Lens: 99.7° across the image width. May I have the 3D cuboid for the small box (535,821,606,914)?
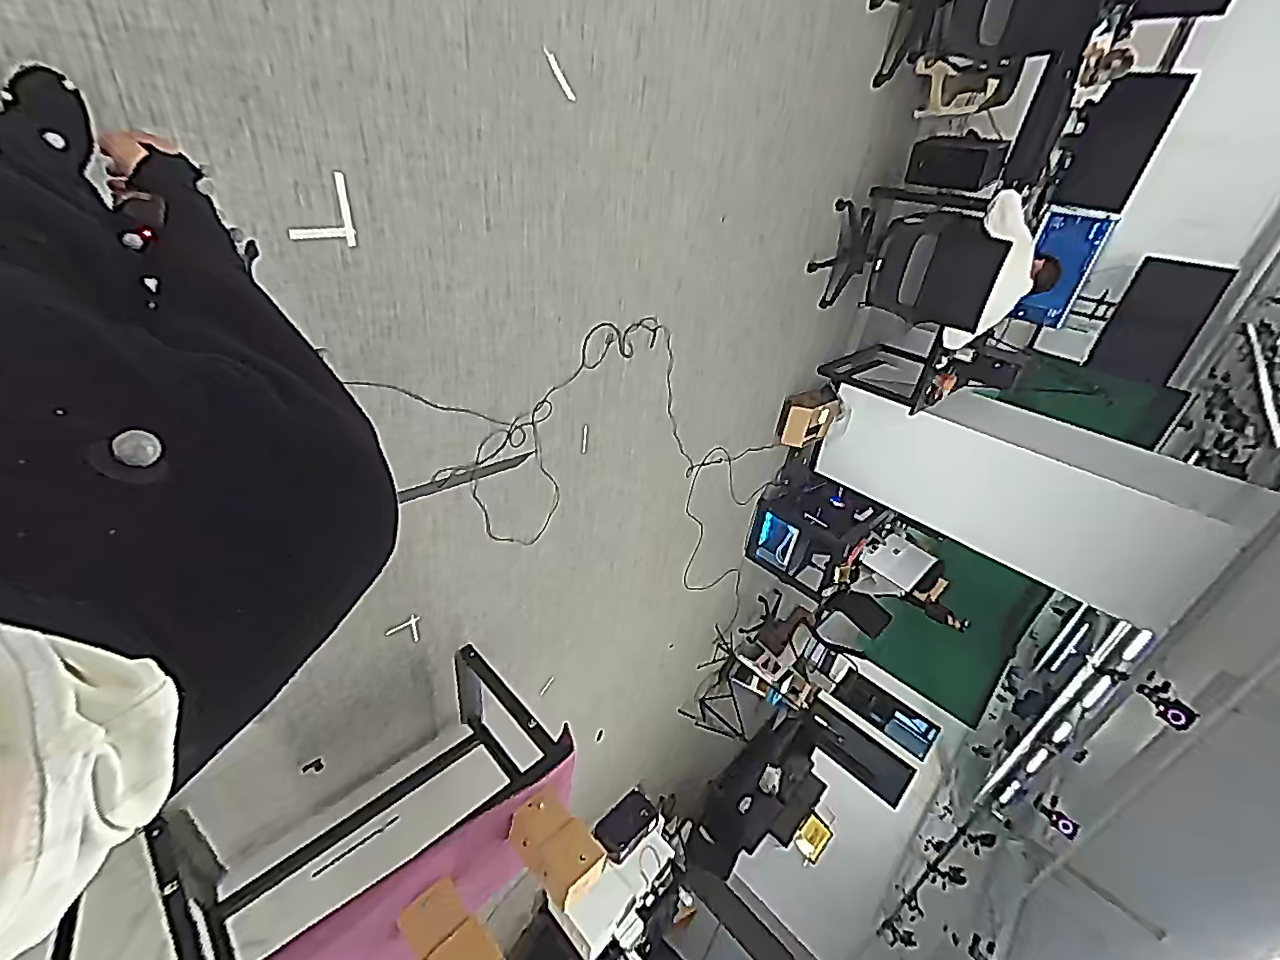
[{"bbox_3d":[-0.250,1.373,1.931,0.179,0.176,0.168,-16,127,-45],"label":"small box"}]

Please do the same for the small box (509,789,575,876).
[{"bbox_3d":[-0.372,1.312,2.024,0.168,0.176,0.179,-13,125,-46],"label":"small box"}]

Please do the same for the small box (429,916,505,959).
[{"bbox_3d":[-0.540,1.527,1.690,0.179,0.176,0.168,-25,135,-38],"label":"small box"}]

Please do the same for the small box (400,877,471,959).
[{"bbox_3d":[-0.669,1.469,1.773,0.179,0.176,0.168,-25,136,-38],"label":"small box"}]
